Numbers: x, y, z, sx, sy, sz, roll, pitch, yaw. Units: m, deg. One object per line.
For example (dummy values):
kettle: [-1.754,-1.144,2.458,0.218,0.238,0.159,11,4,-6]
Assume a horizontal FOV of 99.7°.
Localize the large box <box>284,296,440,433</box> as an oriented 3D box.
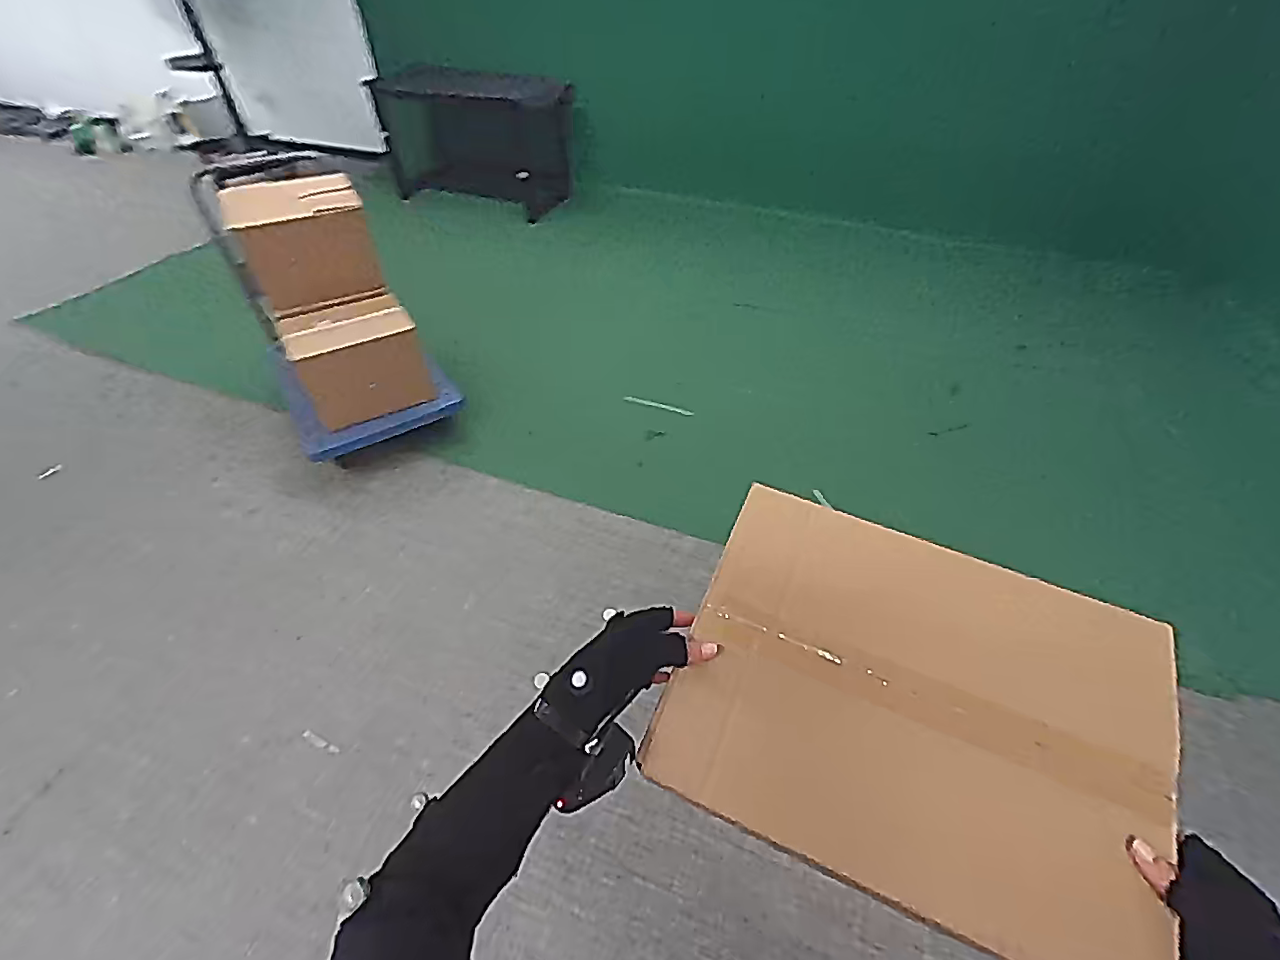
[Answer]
large box: [-1.025,-0.437,2.023,0.408,0.320,0.320,-24,50,-22]
